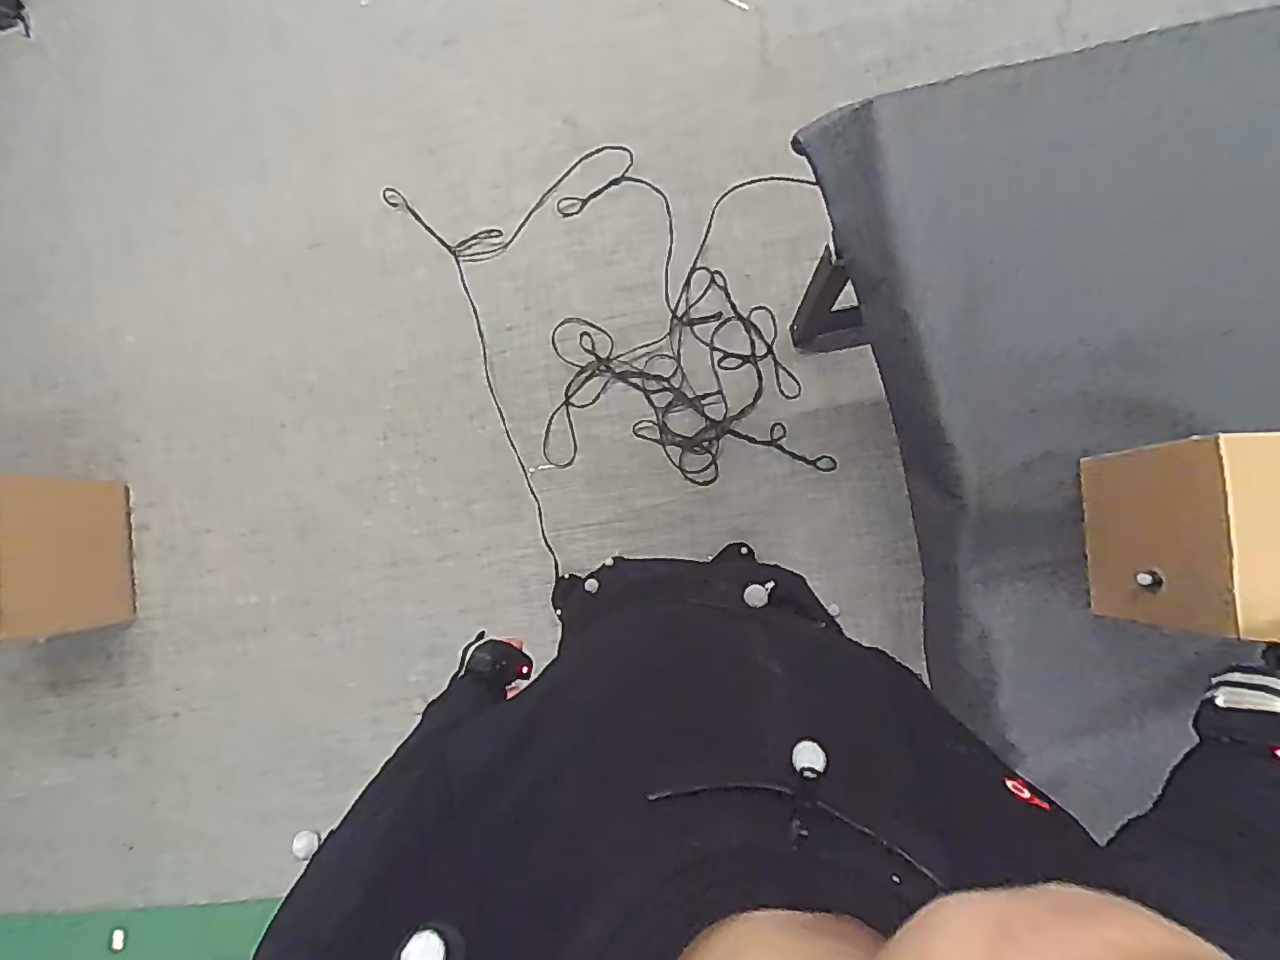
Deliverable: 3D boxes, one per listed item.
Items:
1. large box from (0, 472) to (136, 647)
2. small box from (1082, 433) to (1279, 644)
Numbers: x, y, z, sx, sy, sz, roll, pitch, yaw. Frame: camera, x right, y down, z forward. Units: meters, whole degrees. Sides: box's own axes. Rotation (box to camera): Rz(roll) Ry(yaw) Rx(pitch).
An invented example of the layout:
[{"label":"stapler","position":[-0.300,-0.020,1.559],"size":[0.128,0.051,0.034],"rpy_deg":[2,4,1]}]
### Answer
[{"label":"large box","position":[-1.612,0.217,1.408],"size":[0.320,0.320,0.408],"rpy_deg":[-10,83,4]},{"label":"small box","position":[0.575,0.054,0.522],"size":[0.168,0.176,0.179],"rpy_deg":[-1,84,4]}]
